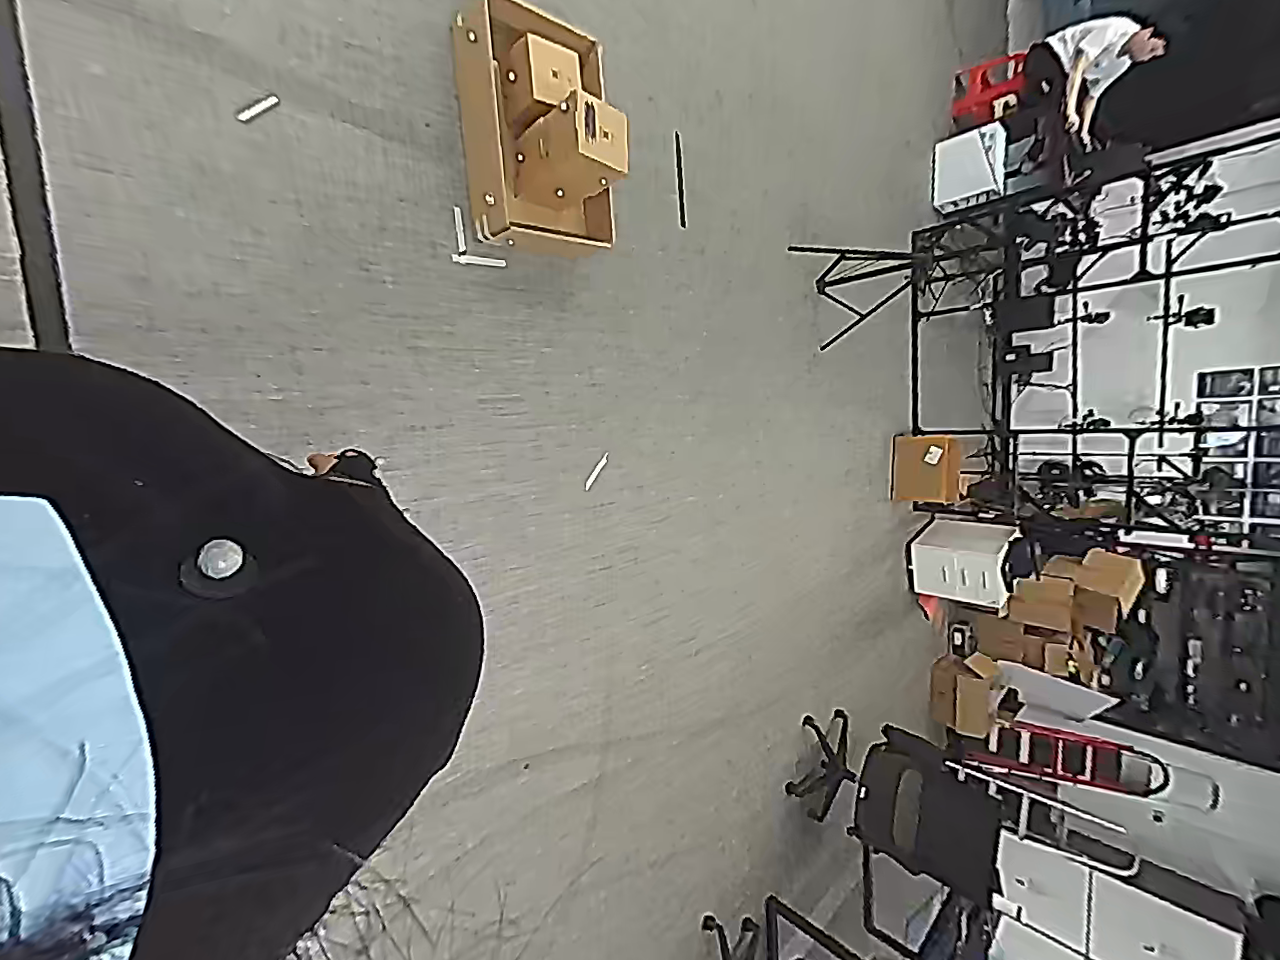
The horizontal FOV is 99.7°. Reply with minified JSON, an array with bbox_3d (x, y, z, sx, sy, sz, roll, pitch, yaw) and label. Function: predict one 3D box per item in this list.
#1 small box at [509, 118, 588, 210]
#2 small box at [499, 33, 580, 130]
[{"bbox_3d":[-0.276,-0.945,1.639,0.179,0.176,0.168,-5,94,-42],"label":"small box"},{"bbox_3d":[-0.303,-1.155,1.592,0.179,0.176,0.168,-13,104,-42],"label":"small box"}]
